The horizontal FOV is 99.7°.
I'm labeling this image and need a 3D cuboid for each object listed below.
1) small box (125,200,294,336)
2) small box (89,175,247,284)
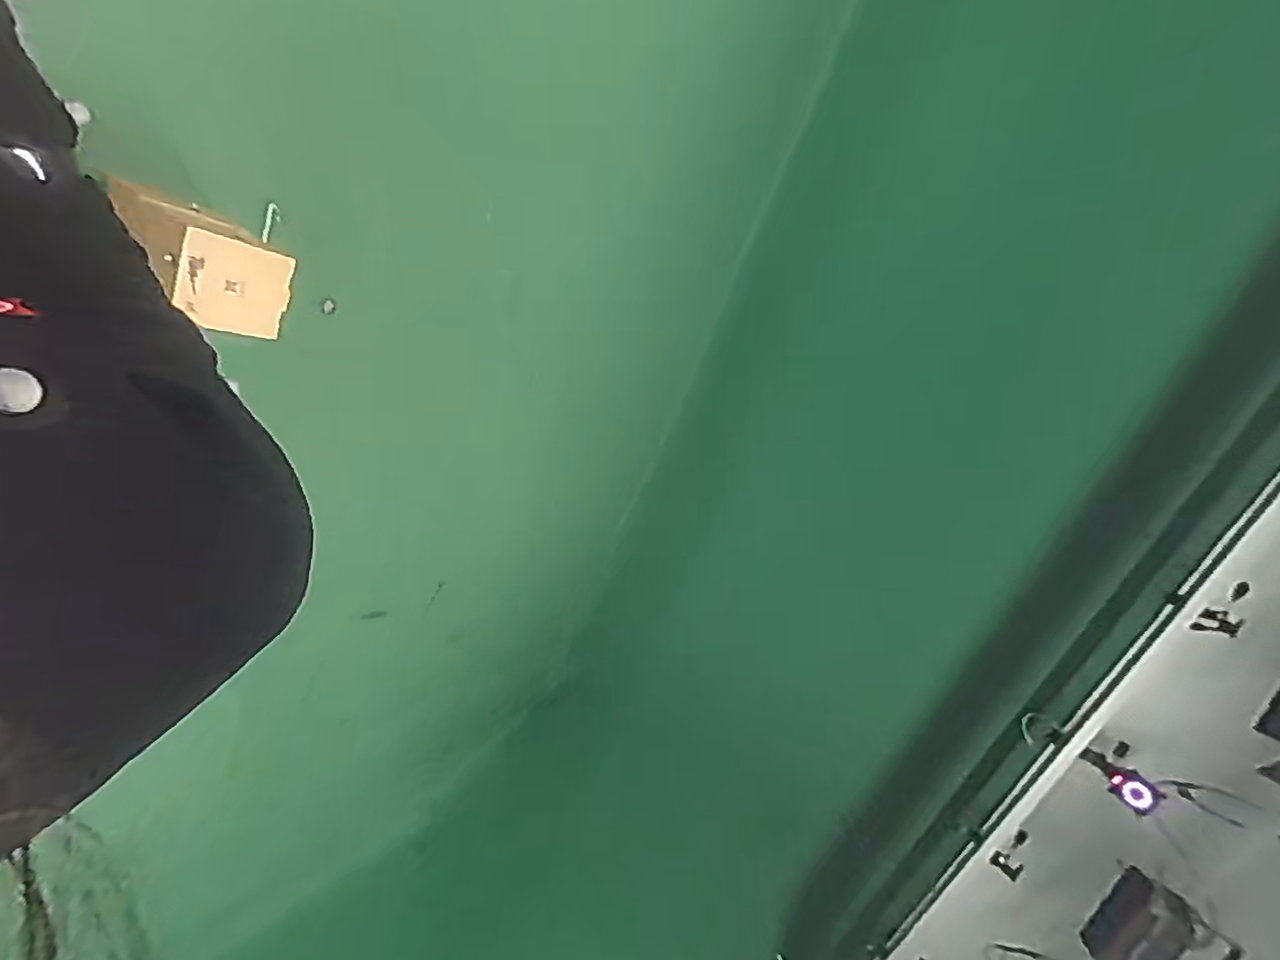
[{"bbox_3d":[-0.791,-0.387,0.998,0.179,0.176,0.168,-4,121,-63],"label":"small box"},{"bbox_3d":[-0.921,-0.467,1.058,0.179,0.176,0.168,-4,121,-61],"label":"small box"}]
